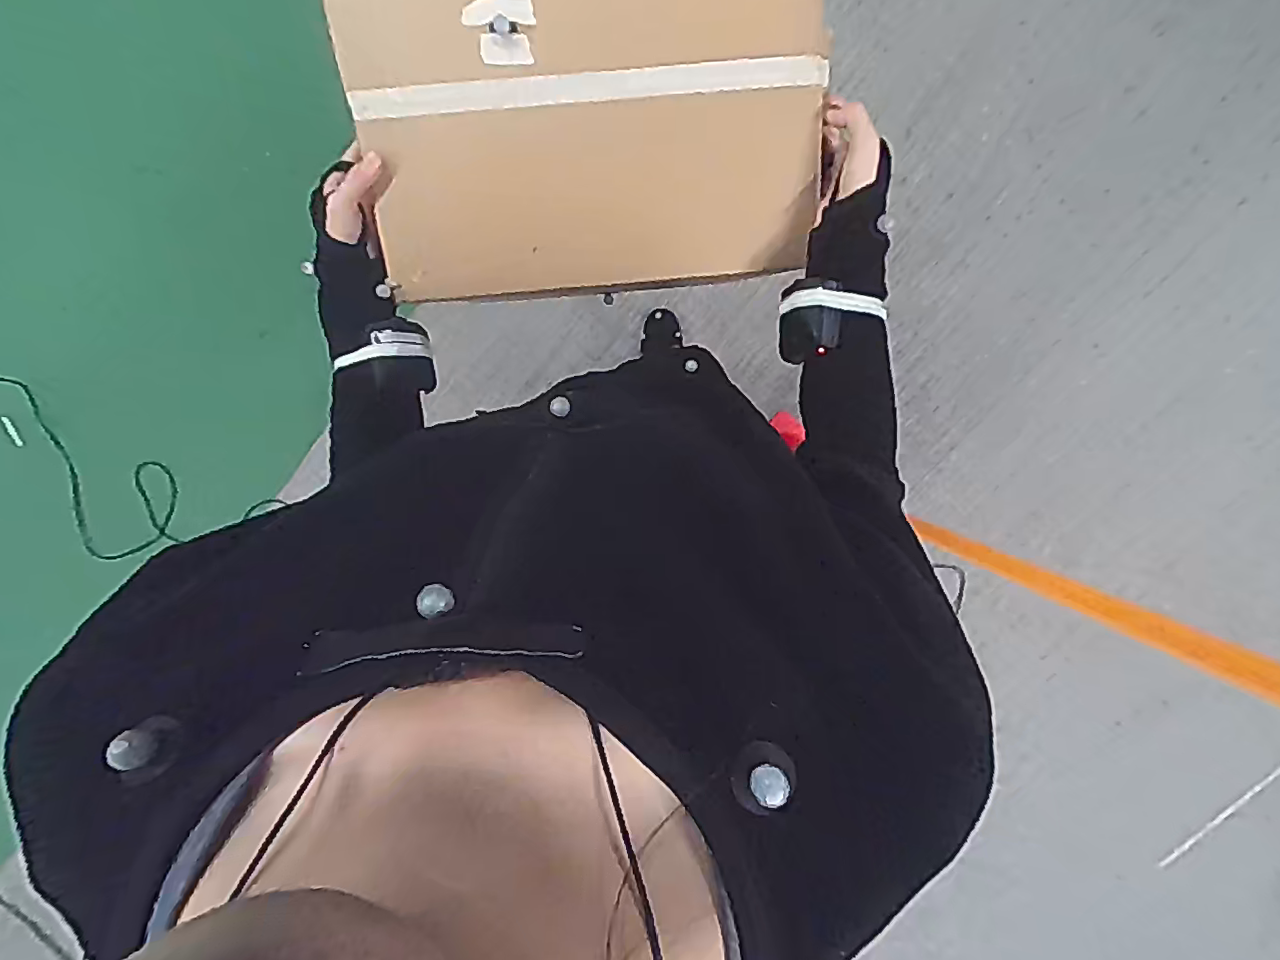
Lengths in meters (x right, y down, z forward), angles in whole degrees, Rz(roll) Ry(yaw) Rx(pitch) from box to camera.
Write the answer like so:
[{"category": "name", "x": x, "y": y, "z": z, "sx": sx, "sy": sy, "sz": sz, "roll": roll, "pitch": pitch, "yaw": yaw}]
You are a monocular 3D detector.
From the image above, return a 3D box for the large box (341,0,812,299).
[{"category": "large box", "x": -0.051, "y": -0.389, "z": 0.618, "sx": 0.408, "sy": 0.320, "sz": 0.320, "roll": -6, "pitch": 108, "yaw": -2}]
